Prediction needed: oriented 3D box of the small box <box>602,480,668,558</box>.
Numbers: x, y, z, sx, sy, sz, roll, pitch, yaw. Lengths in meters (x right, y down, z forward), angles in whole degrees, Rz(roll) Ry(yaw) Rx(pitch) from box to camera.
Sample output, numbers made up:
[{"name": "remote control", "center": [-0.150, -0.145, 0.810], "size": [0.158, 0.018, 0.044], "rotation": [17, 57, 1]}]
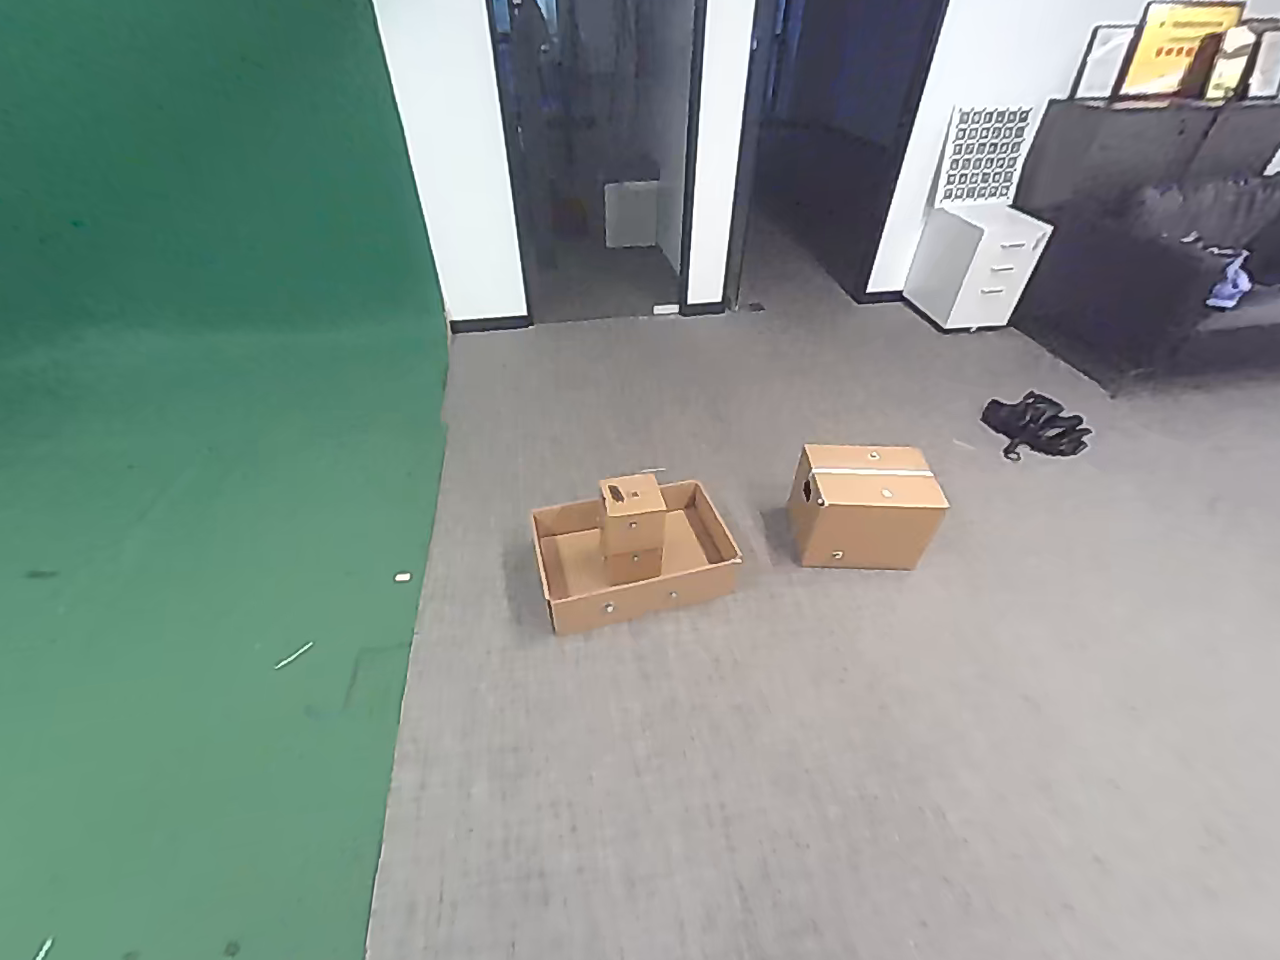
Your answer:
[{"name": "small box", "center": [-0.019, 0.125, 1.676], "size": [0.179, 0.176, 0.168], "rotation": [-7, 42, -11]}]

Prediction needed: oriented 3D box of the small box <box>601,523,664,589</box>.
[{"name": "small box", "center": [-0.026, 0.242, 1.792], "size": [0.179, 0.176, 0.168], "rotation": [-9, 42, -13]}]
